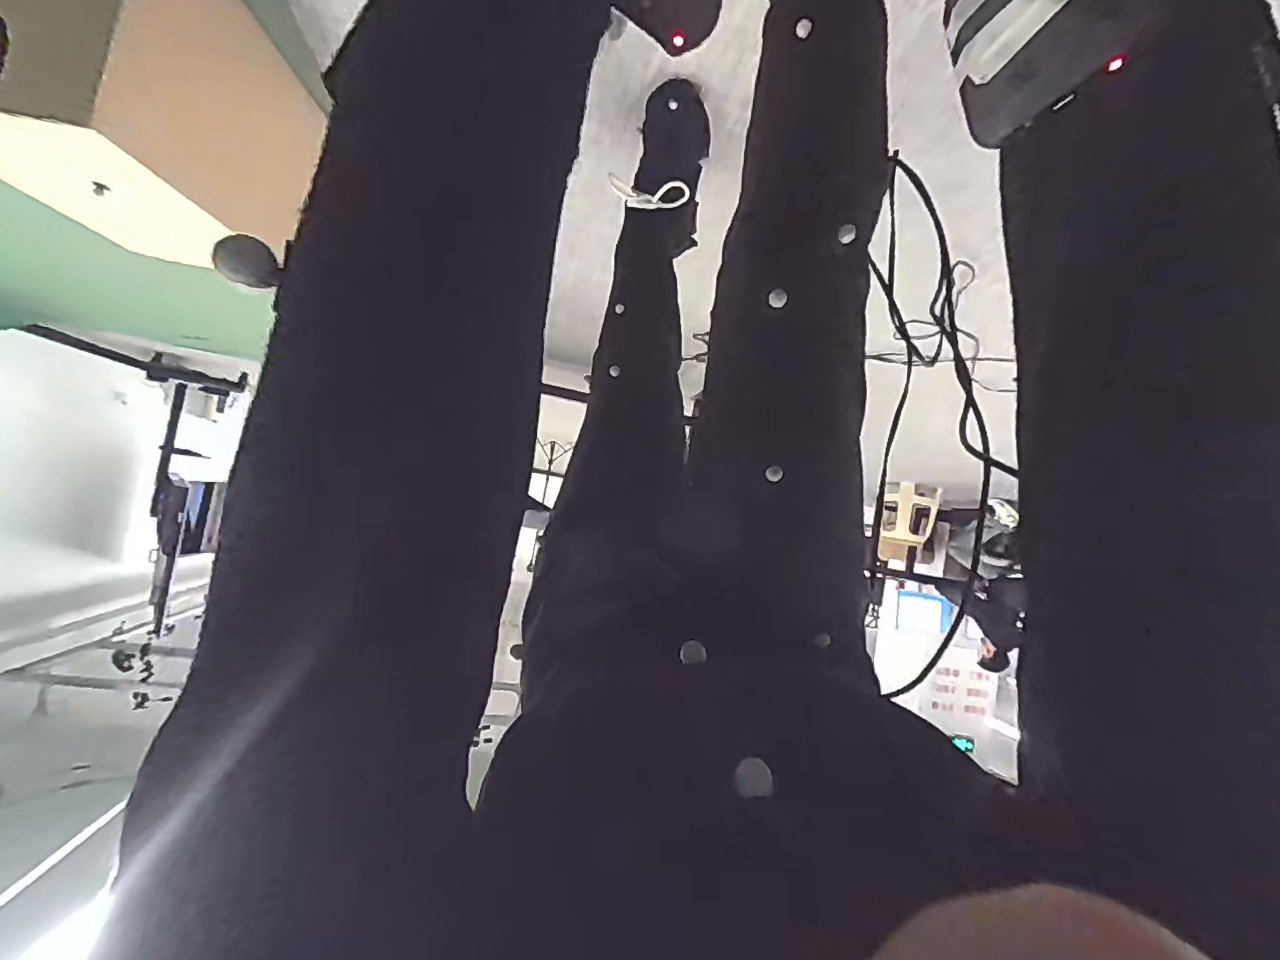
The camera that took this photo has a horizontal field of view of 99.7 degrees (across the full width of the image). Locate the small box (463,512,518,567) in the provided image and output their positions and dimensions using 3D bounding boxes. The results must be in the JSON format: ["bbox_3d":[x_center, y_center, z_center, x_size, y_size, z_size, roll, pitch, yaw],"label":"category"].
[{"bbox_3d":[-0.569,0.225,2.068,0.179,0.176,0.168,11,176,-15],"label":"small box"}]
